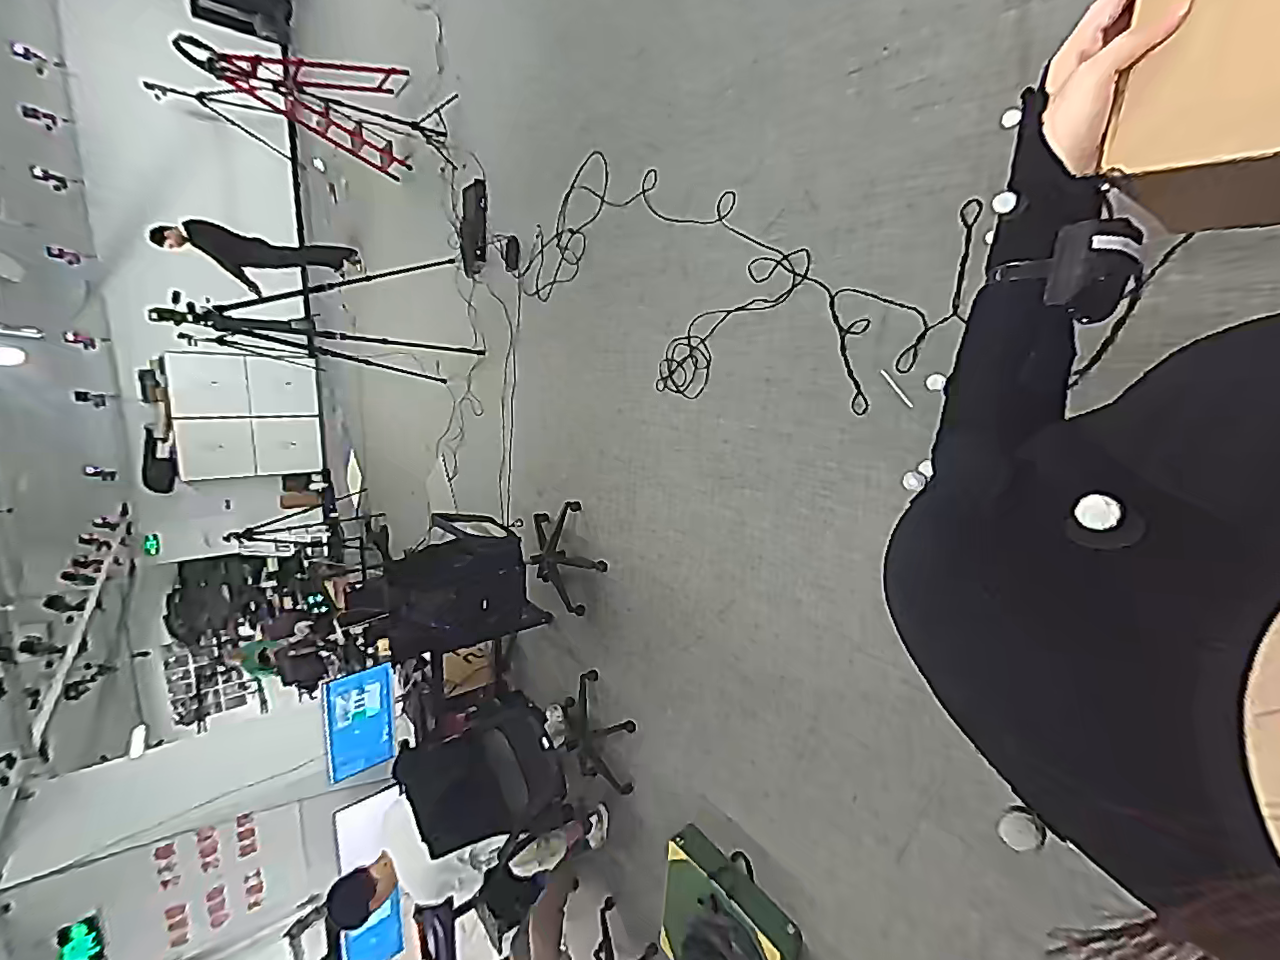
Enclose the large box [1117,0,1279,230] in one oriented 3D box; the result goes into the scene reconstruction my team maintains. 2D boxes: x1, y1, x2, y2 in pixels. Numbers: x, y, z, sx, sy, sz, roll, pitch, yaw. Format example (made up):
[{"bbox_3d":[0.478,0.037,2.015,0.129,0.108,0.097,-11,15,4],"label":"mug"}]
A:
[{"bbox_3d":[0.586,-0.353,0.306,0.408,0.320,0.320,18,113,46],"label":"large box"}]
